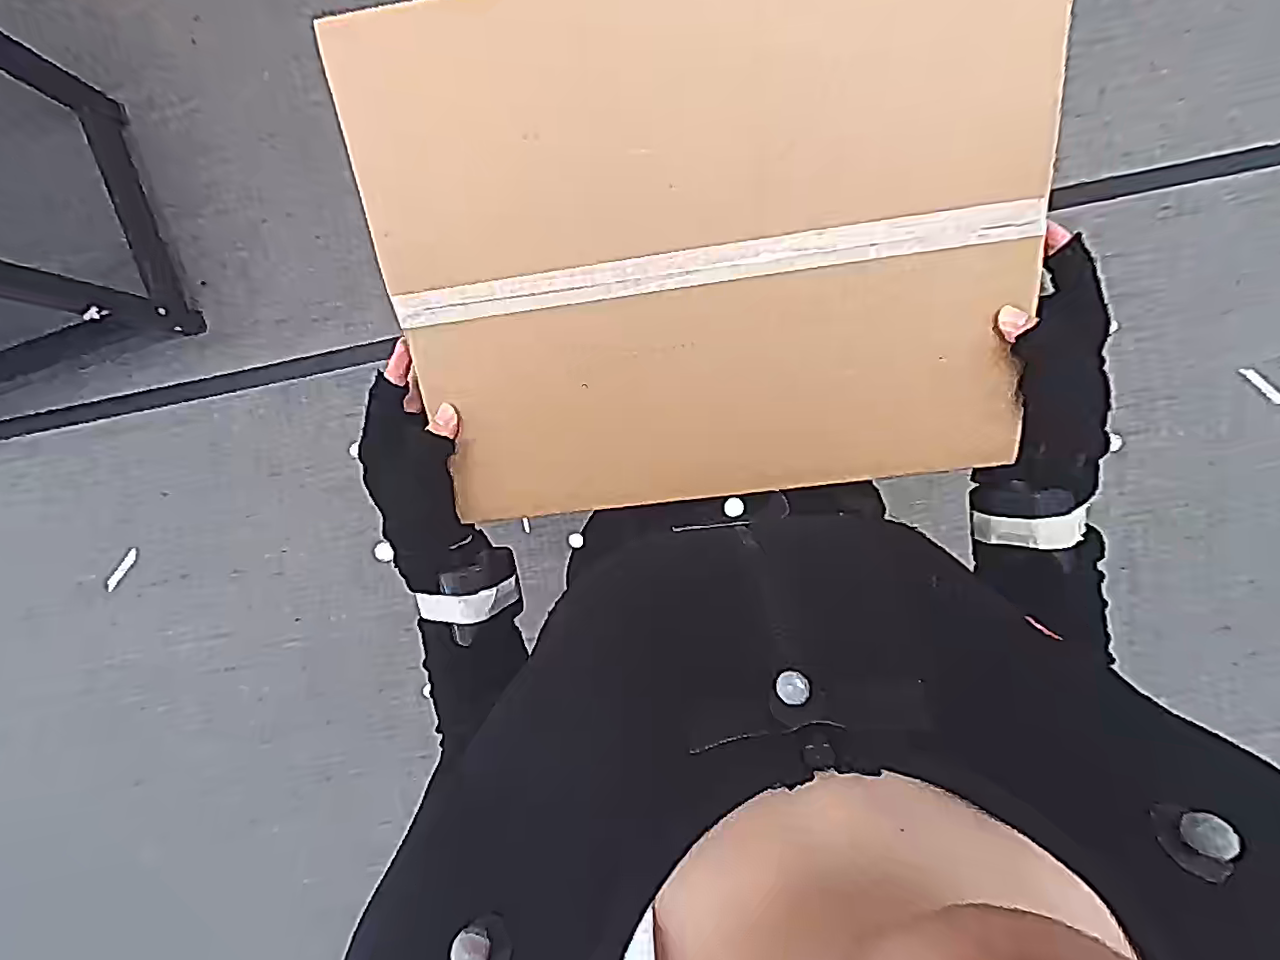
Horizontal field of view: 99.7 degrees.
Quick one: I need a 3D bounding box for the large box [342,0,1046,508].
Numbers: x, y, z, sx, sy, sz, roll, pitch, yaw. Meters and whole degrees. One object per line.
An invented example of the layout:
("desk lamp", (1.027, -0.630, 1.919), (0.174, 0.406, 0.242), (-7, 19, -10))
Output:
("large box", (0.044, -0.196, 0.488), (0.408, 0.320, 0.320), (-7, 112, 4))
